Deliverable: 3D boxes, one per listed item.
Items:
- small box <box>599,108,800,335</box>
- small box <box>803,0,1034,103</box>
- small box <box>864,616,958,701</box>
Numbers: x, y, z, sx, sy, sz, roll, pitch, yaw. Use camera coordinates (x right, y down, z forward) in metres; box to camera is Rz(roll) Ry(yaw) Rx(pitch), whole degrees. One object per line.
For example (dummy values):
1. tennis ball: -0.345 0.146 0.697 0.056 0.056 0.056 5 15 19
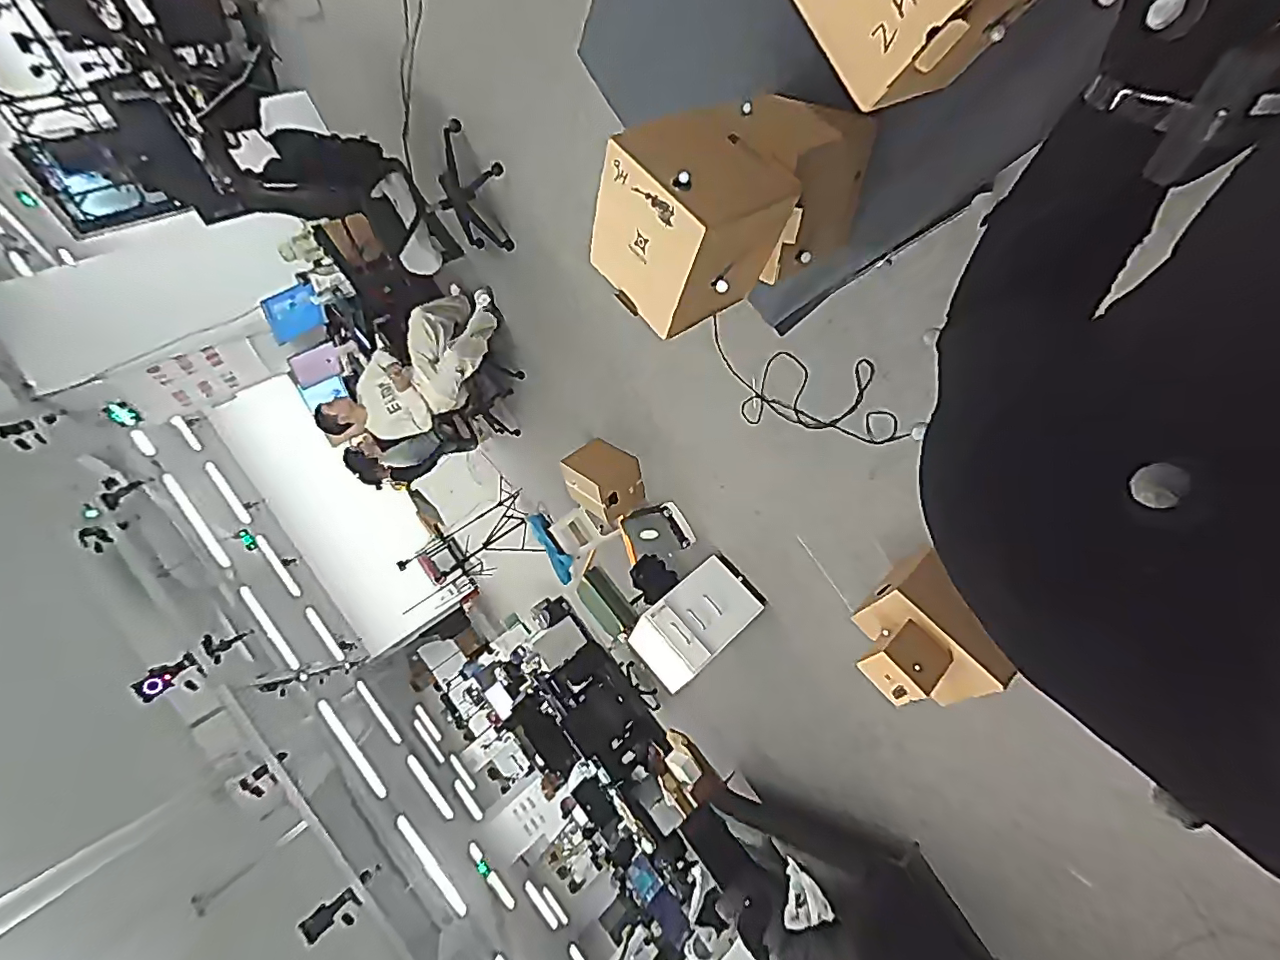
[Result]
1. small box: 0.070 -0.327 0.688 0.168 0.176 0.179 49 154 14
2. small box: 0.277 -0.504 0.505 0.179 0.176 0.168 57 155 -1
3. small box: 0.867 0.569 1.729 0.179 0.176 0.168 47 151 17
